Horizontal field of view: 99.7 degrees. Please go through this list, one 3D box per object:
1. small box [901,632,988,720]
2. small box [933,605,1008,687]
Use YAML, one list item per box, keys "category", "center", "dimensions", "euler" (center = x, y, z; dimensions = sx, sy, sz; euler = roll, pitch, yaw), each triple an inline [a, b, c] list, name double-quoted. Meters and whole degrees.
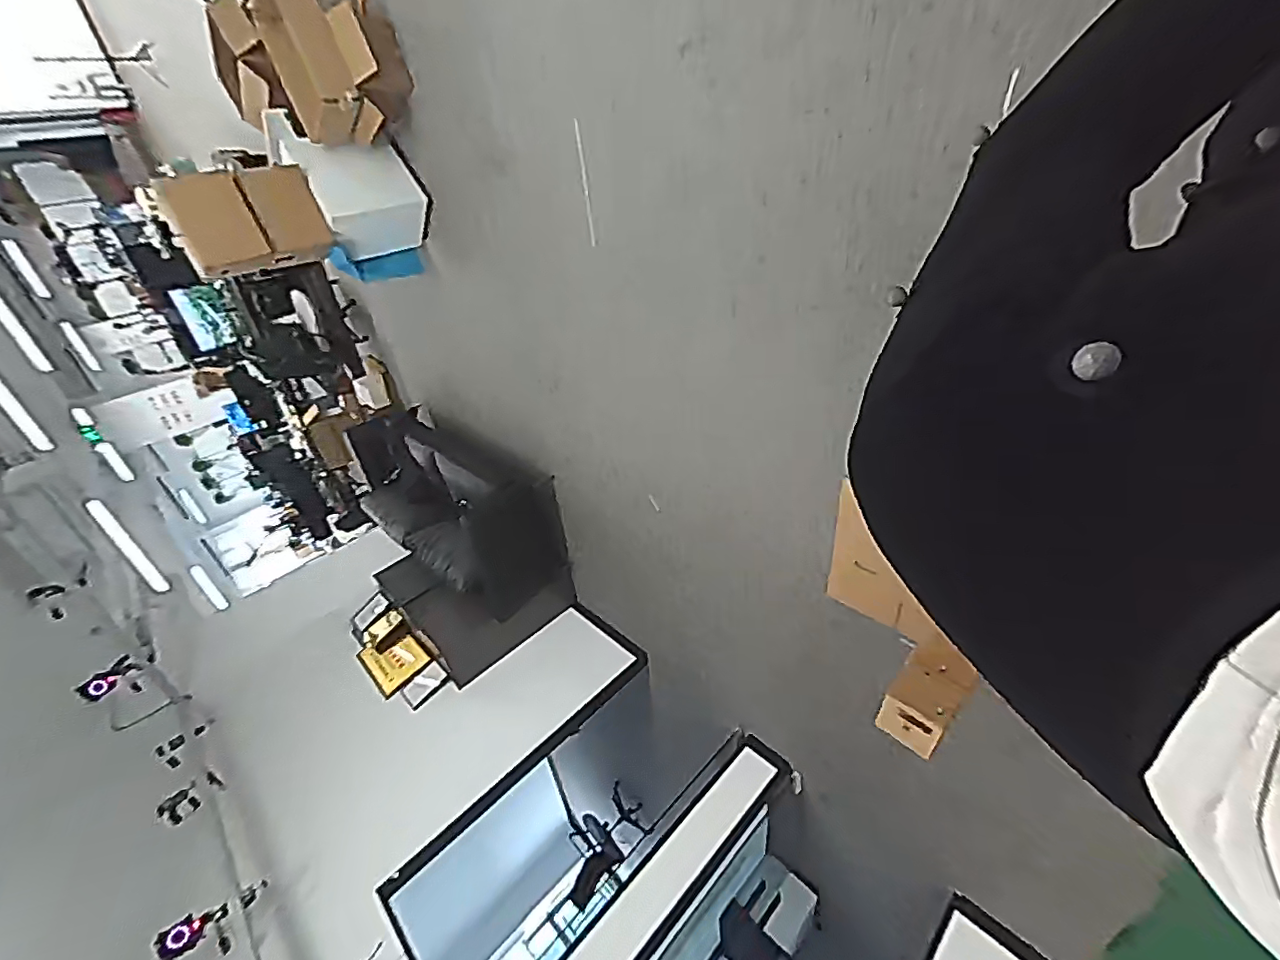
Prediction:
- category: "small box"
  center: [0.980, 0.621, 1.743]
  dimensions: [0.179, 0.176, 0.168]
  euler: [27, 136, 37]
- category: "small box"
  center: [1.099, 0.550, 1.826]
  dimensions: [0.179, 0.176, 0.168]
  euler: [28, 137, 38]
